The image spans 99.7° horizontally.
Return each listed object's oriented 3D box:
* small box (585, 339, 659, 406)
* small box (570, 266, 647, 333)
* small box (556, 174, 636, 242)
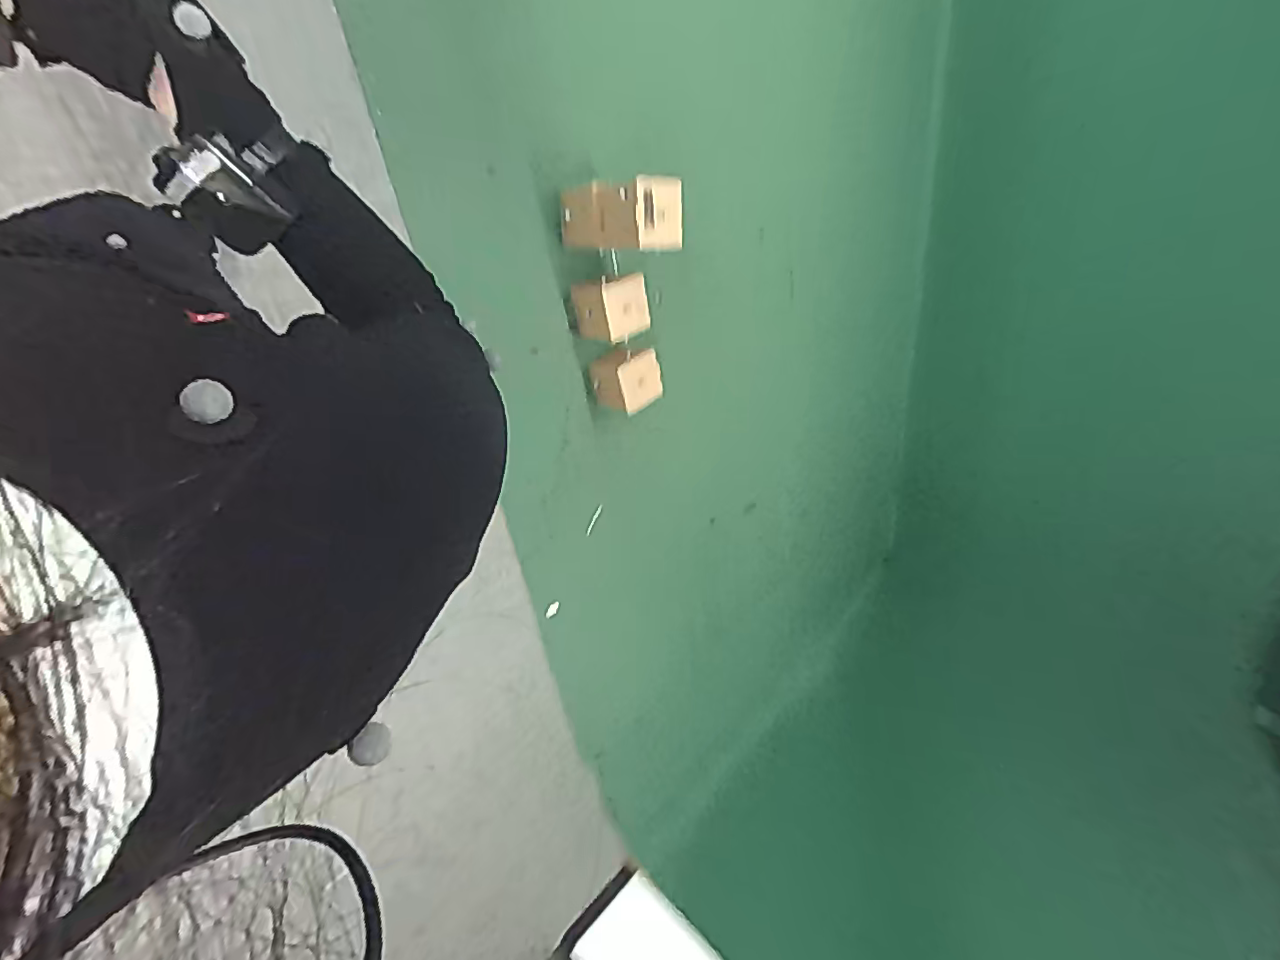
[{"bbox_3d":[-0.062,-0.379,1.875,0.179,0.176,0.168,-37,129,-30],"label":"small box"},{"bbox_3d":[-0.106,-0.585,1.744,0.179,0.176,0.168,-34,128,-32],"label":"small box"},{"bbox_3d":[-0.132,-0.813,1.626,0.179,0.176,0.168,-20,119,-38],"label":"small box"}]
